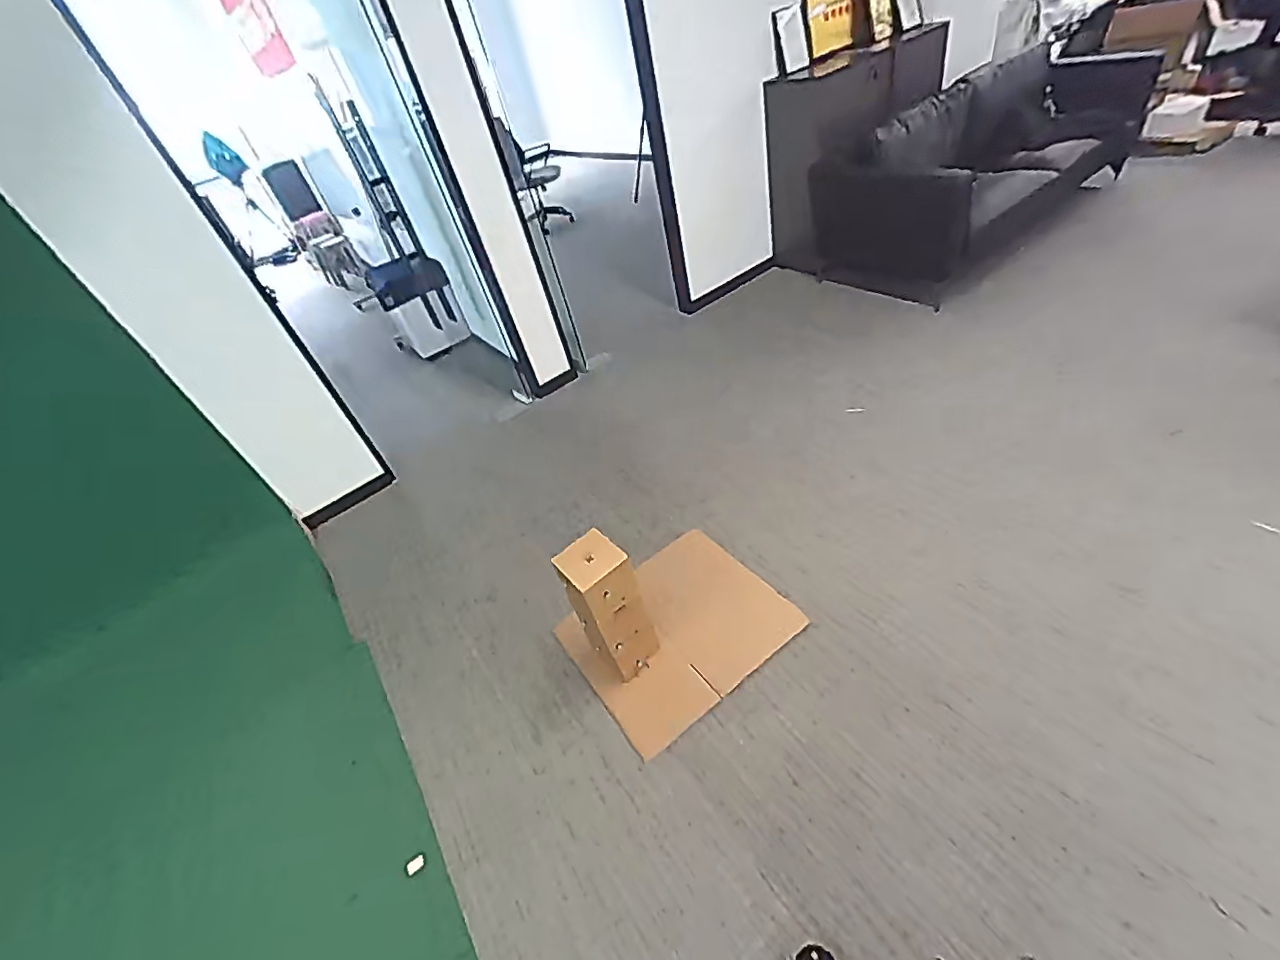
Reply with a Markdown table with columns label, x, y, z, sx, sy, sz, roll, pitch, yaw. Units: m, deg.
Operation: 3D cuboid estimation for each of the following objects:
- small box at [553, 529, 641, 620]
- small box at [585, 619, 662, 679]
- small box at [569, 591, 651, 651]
| label | x | y | z | sx | sy | sz | roll | pitch | yaw |
| --- | --- | --- | --- | --- | --- | --- | --- | --- | --- |
| small box | -0.120 | 0.282 | 1.582 | 0.168 | 0.176 | 0.179 | -36 | 44 | -21 |
| small box | -0.051 | 0.521 | 1.791 | 0.168 | 0.176 | 0.179 | -39 | 46 | -23 |
| small box | -0.087 | 0.403 | 1.684 | 0.168 | 0.176 | 0.179 | -36 | 43 | -21 |
